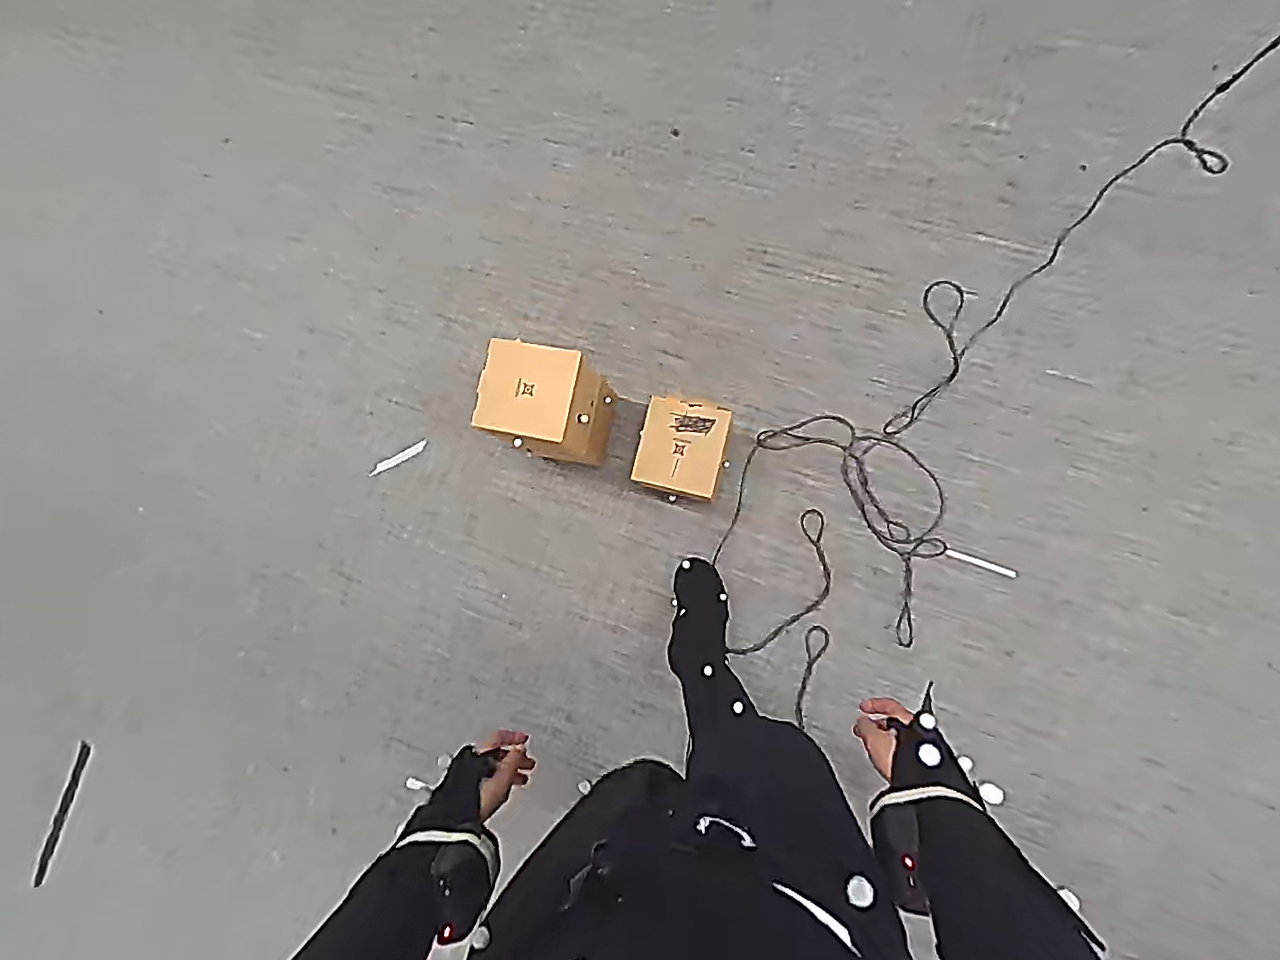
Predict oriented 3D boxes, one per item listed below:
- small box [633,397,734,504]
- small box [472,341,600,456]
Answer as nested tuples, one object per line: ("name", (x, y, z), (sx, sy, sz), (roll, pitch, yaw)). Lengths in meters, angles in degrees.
("small box", (0.095, -0.055, 1.130), (0.168, 0.176, 0.179), (14, 87, 11))
("small box", (-0.186, -0.146, 1.021), (0.179, 0.176, 0.168), (10, 85, 11))
